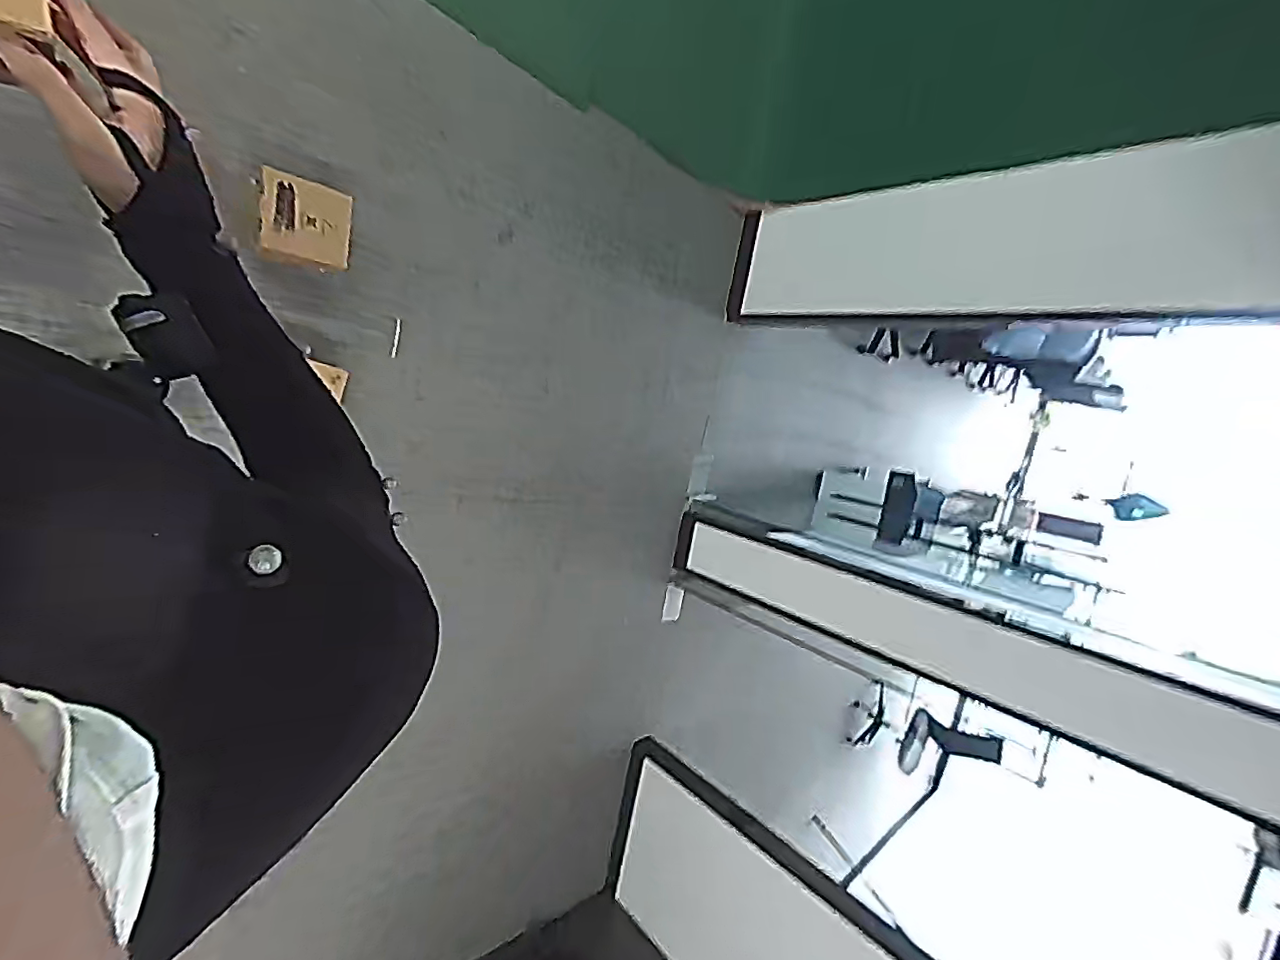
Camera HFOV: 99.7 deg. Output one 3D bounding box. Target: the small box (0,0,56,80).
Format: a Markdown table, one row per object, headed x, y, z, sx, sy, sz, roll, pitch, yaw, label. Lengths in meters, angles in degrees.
| x | y | z | sx | sy | sz | roll | pitch | yaw | label |
| --- | --- | --- | --- | --- | --- | --- | --- | --- | --- |
| -0.485 | -0.370 | 0.318 | 0.179 | 0.176 | 0.168 | -10 | 111 | -41 | small box |
